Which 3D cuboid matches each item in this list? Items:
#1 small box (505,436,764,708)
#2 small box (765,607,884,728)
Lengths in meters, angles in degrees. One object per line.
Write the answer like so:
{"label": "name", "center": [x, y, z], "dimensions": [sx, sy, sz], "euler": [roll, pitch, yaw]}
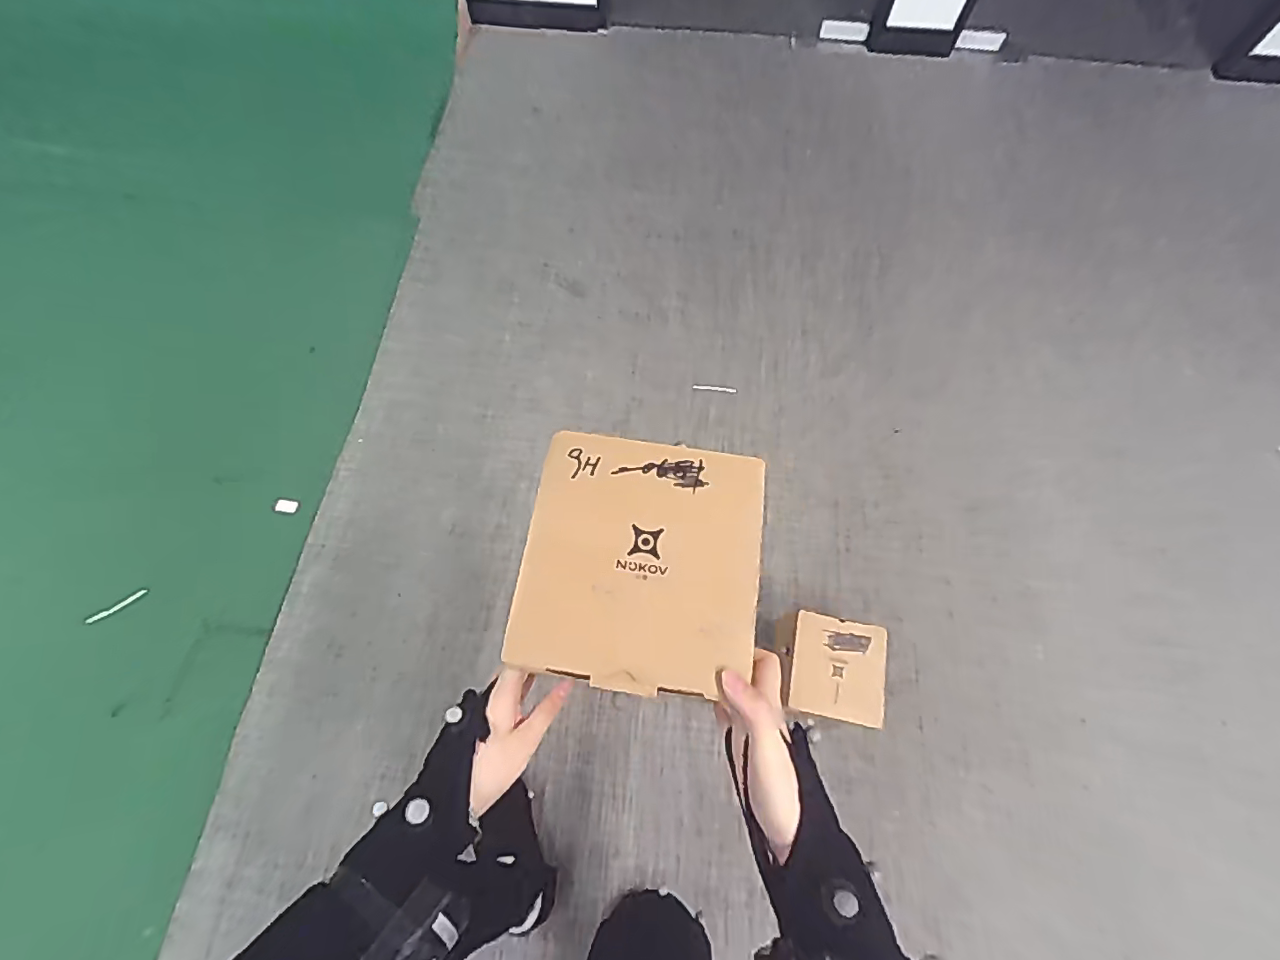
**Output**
{"label": "small box", "center": [0.000, 0.085, 0.462], "dimensions": [0.168, 0.176, 0.179], "euler": [9, 70, 1]}
{"label": "small box", "center": [0.346, 0.358, 1.035], "dimensions": [0.168, 0.176, 0.179], "euler": [12, 69, 3]}
